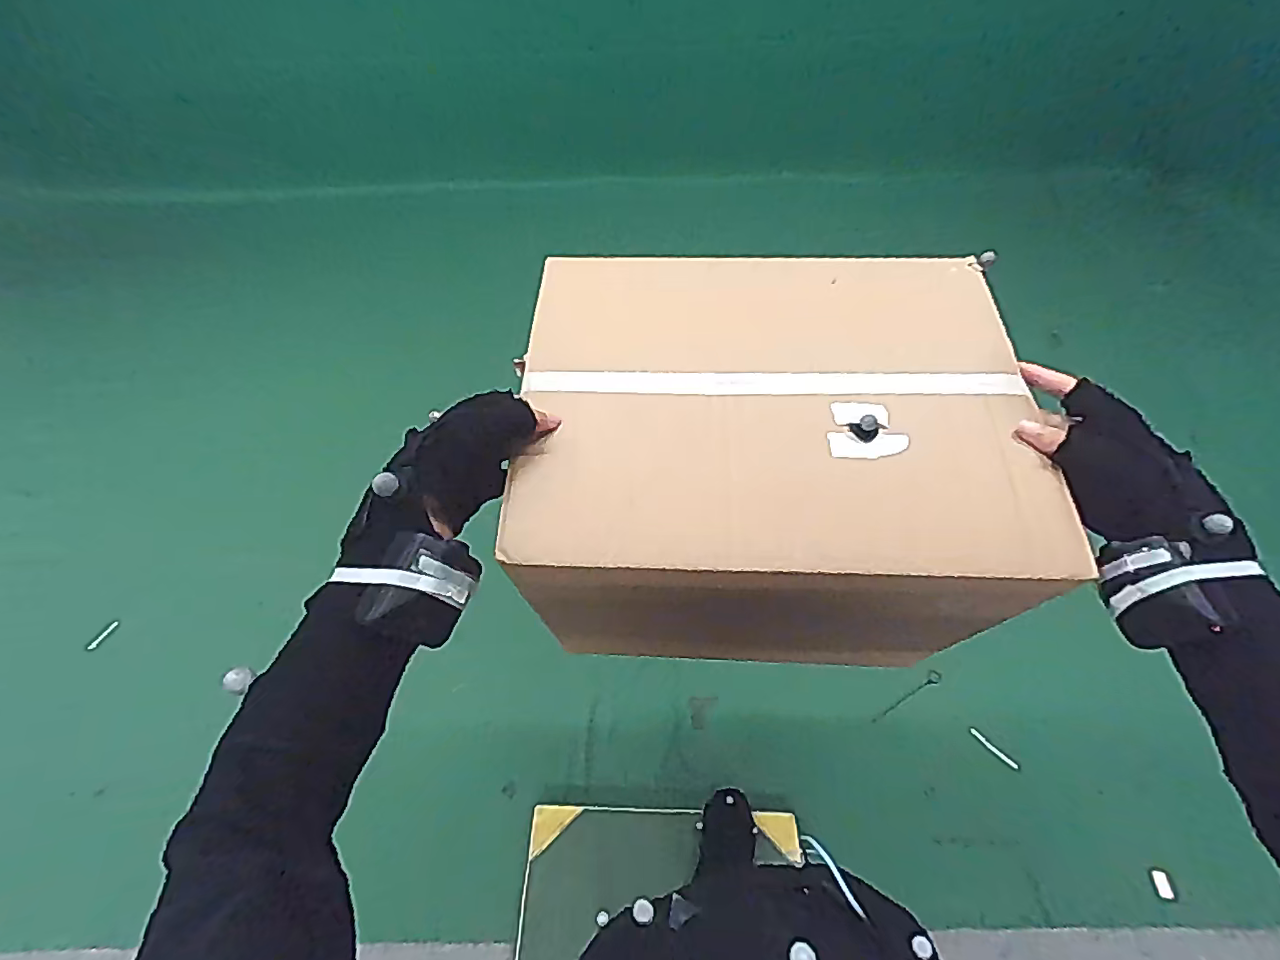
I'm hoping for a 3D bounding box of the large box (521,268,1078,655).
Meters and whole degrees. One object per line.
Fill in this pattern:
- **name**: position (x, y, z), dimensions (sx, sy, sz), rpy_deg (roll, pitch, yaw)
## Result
- **large box**: position (0.115, -0.001, 0.584), dimensions (0.408, 0.320, 0.320), rpy_deg (1, 61, 2)
